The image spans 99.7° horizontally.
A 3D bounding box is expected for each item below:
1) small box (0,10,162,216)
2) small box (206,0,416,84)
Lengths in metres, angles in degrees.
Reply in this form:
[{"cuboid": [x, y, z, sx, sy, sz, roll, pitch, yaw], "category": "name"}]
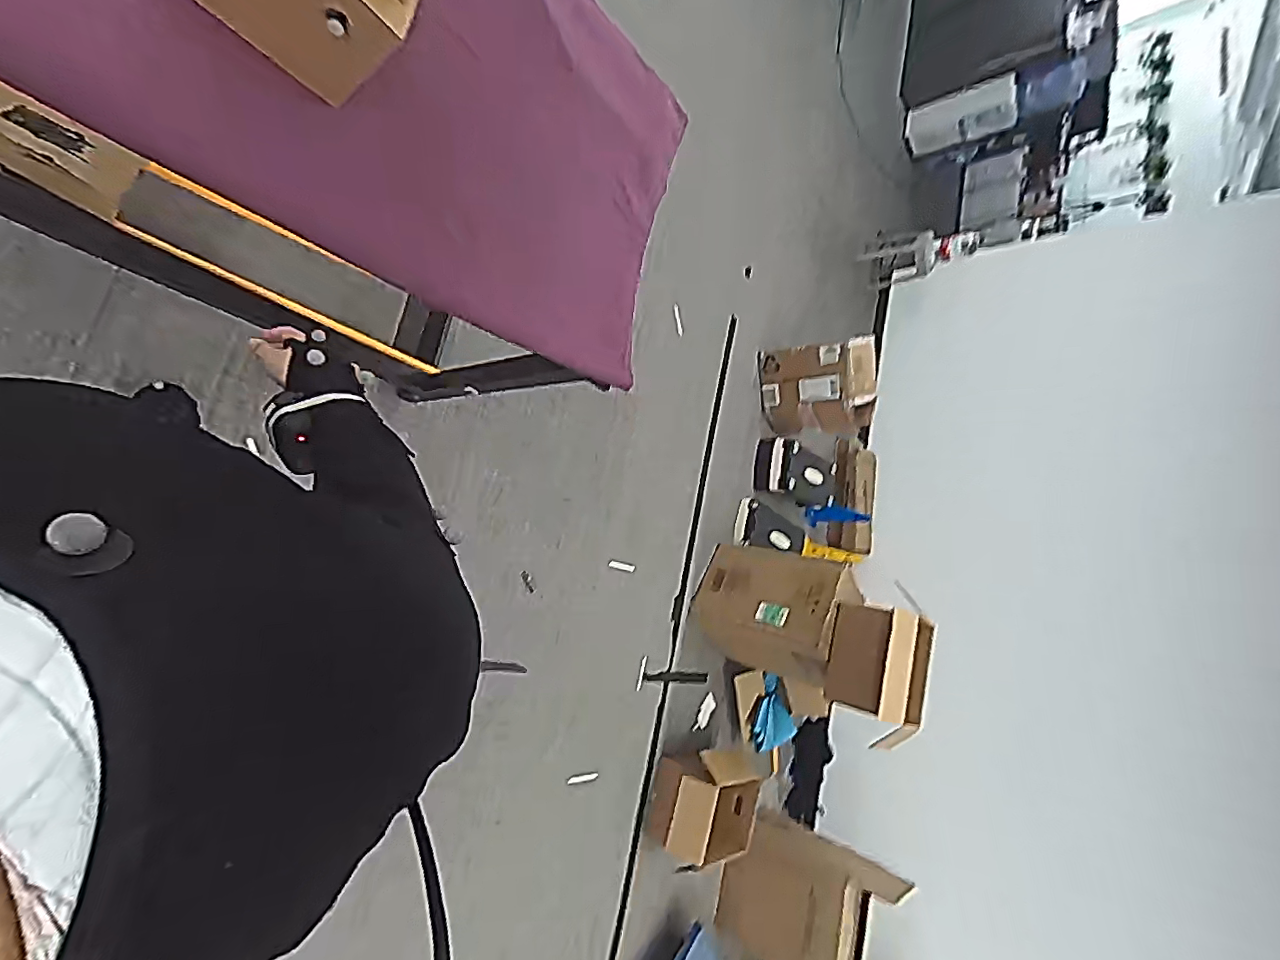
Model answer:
[{"cuboid": [-0.887, -0.542, 0.829, 0.168, 0.176, 0.179, 32, 68, -47], "category": "small box"}, {"cuboid": [-0.329, -0.537, 0.529, 0.179, 0.176, 0.168, 25, 72, -48], "category": "small box"}]
